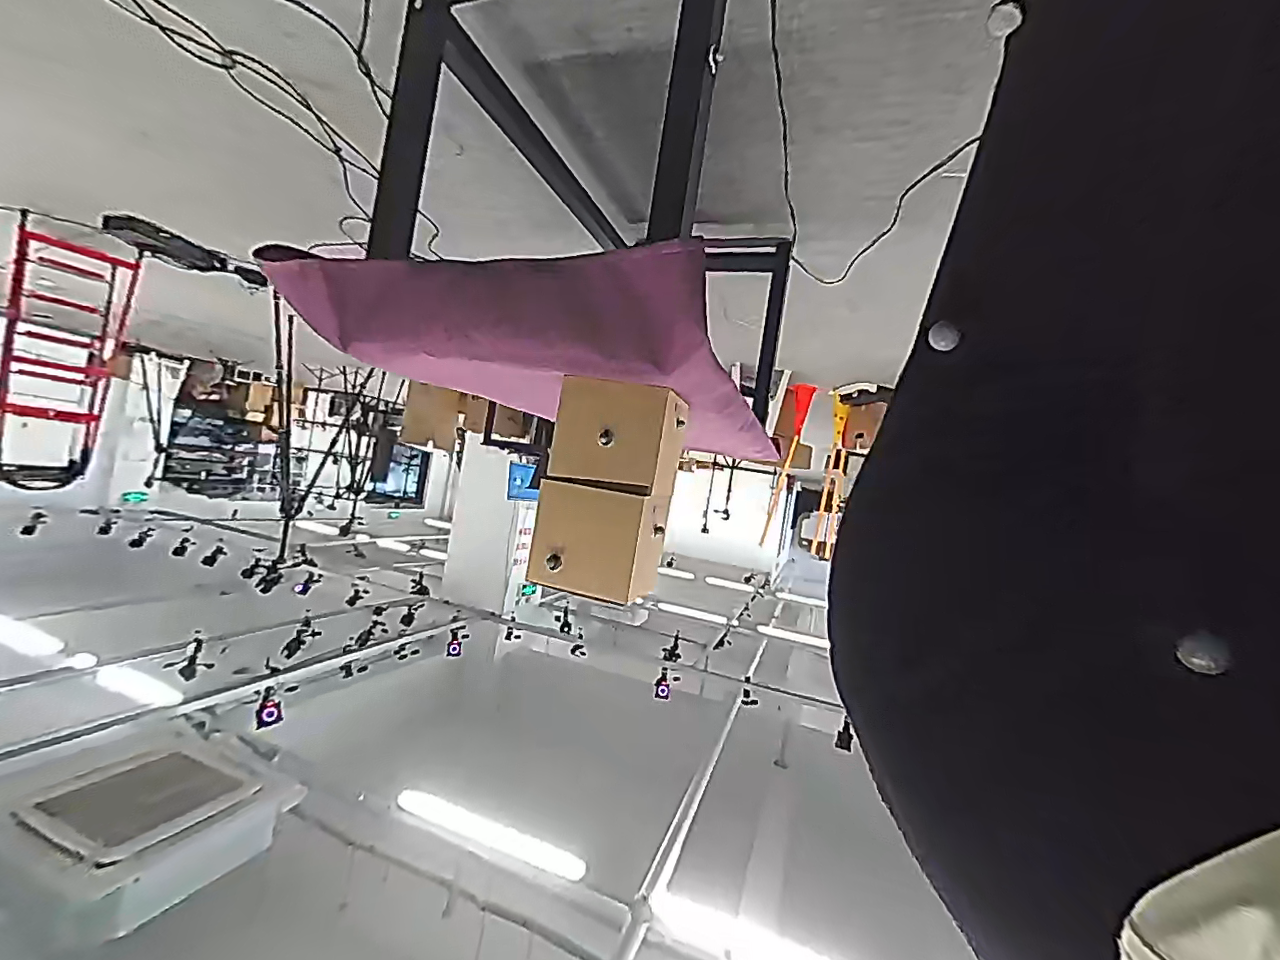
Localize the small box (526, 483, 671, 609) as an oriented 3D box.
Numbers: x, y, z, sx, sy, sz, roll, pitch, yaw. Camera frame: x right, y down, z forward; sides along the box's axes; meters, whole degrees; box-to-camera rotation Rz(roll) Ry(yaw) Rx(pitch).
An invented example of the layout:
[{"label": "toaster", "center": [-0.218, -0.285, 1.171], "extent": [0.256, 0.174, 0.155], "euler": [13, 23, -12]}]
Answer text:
[{"label": "small box", "center": [-0.062, 0.098, 0.893], "extent": [0.179, 0.176, 0.168], "euler": [10, 180, 17]}]
